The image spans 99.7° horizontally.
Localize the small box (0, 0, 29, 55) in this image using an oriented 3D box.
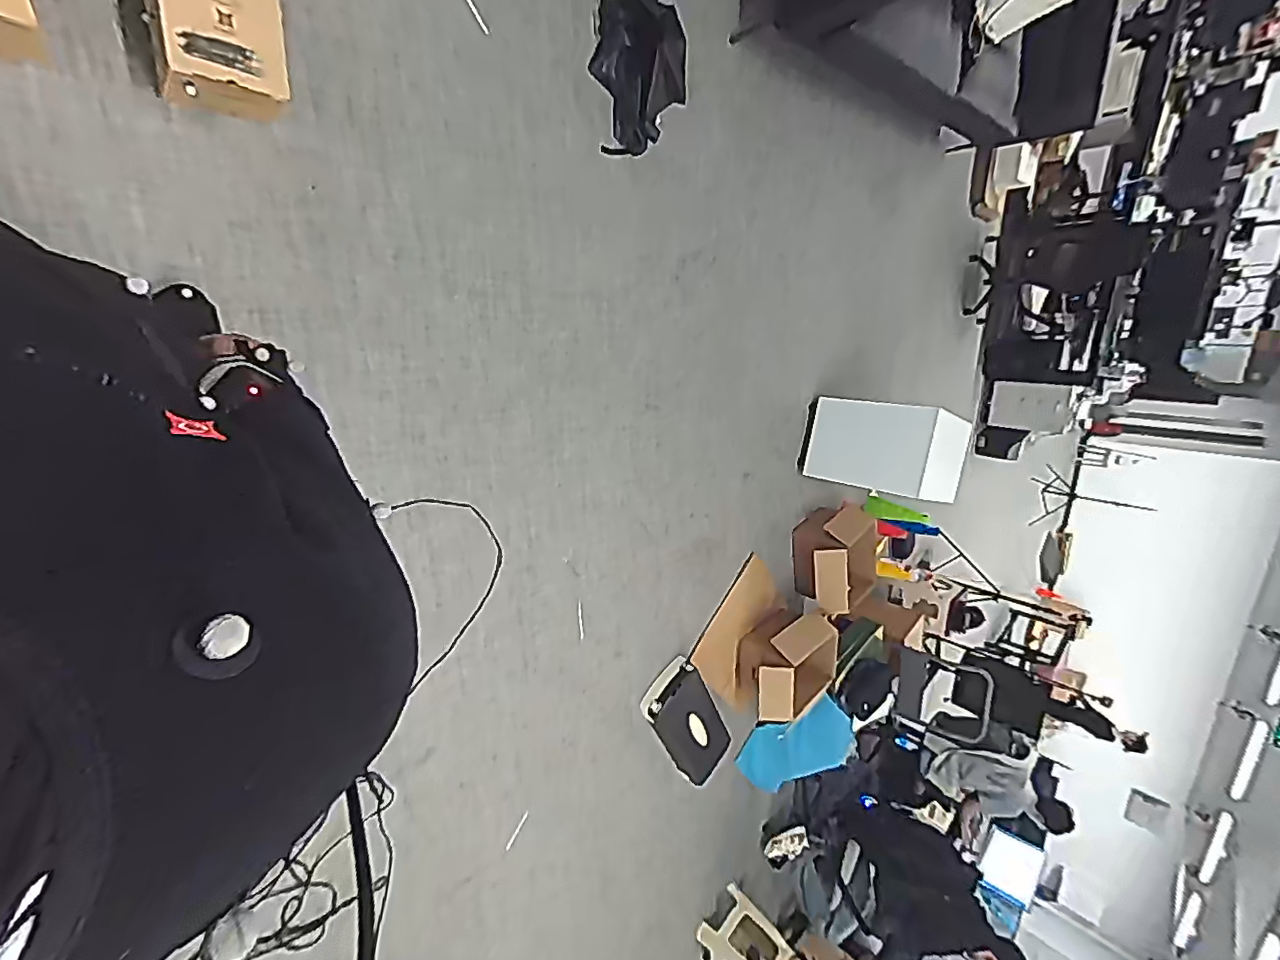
[{"bbox_3d":[-0.939,-0.700,0.699,0.168,0.176,0.179,-17,114,-43],"label":"small box"}]
